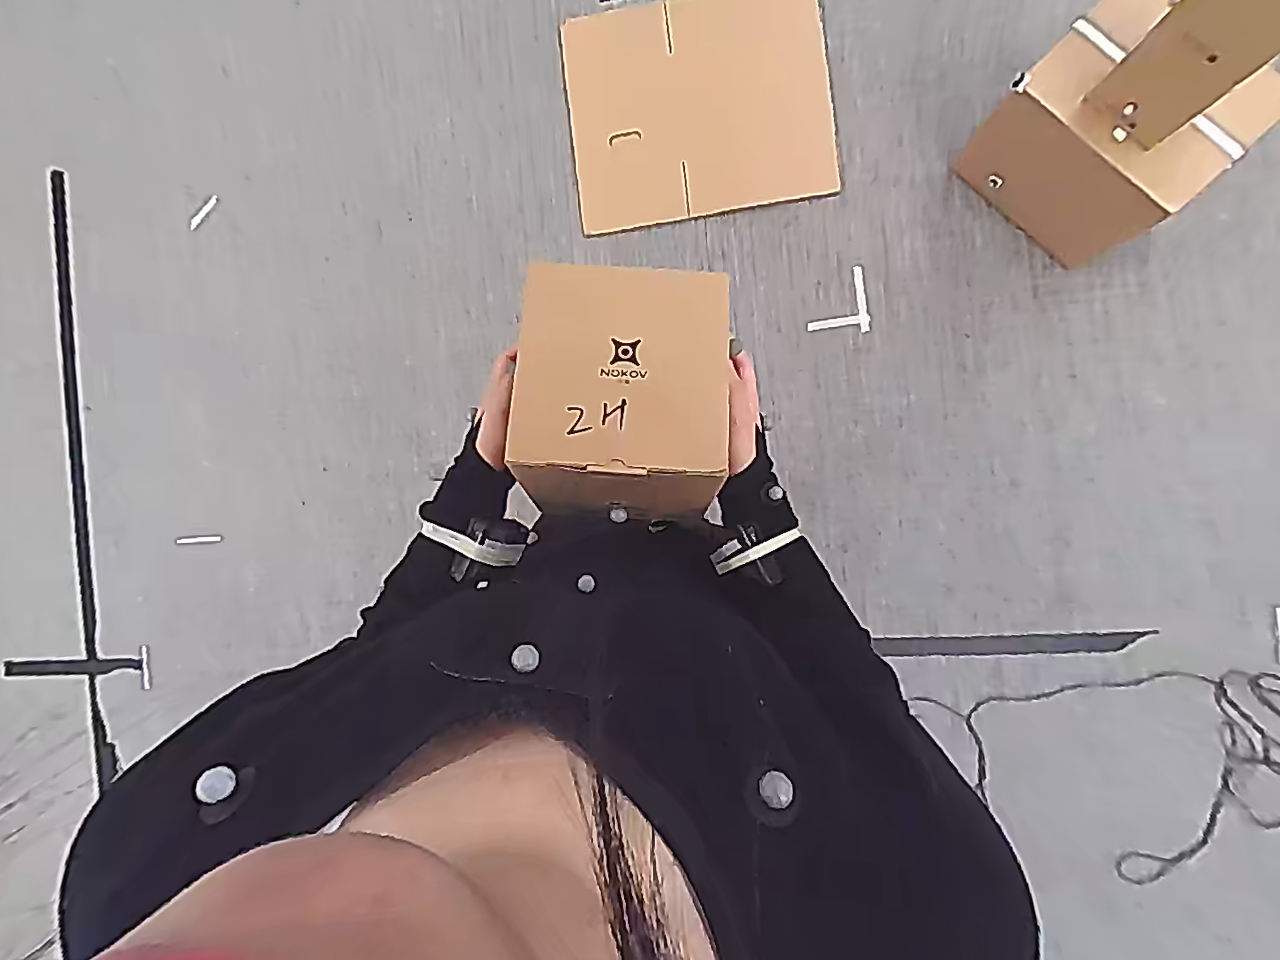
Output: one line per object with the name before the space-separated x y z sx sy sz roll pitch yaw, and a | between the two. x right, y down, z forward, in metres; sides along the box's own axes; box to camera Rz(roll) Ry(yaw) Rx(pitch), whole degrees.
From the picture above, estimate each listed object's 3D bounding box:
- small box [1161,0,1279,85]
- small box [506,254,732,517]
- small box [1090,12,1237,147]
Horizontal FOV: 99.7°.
small box | 0.961 -0.757 0.806 0.168 0.176 0.179 45 95 5
small box | -0.013 -0.073 0.491 0.168 0.176 0.179 3 74 0
small box | 0.980 -0.756 0.969 0.168 0.176 0.179 44 96 5
